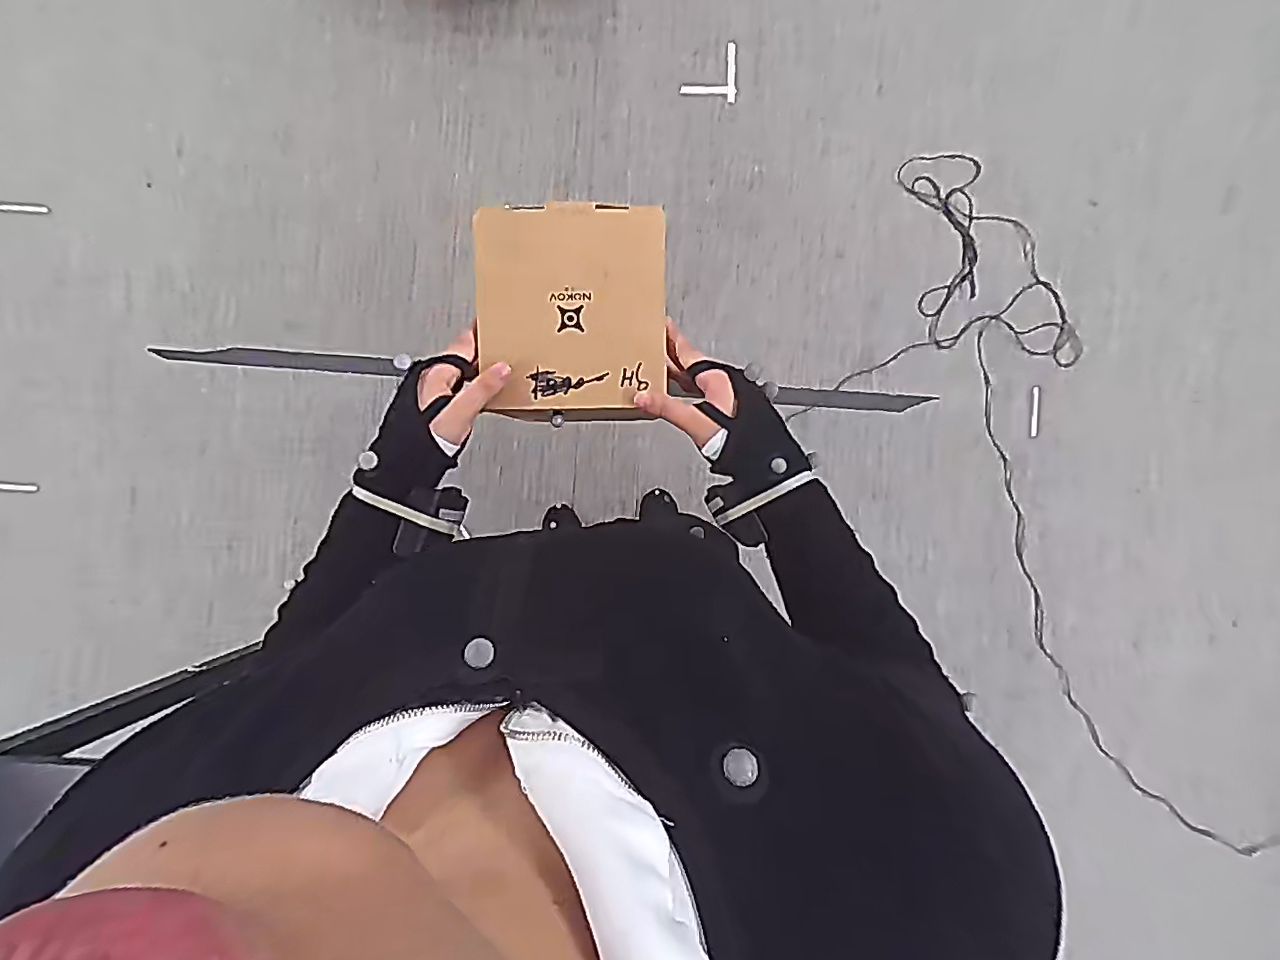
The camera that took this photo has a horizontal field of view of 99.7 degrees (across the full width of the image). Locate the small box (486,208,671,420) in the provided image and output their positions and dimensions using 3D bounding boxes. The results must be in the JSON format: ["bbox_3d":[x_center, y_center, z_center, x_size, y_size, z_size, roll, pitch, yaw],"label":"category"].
[{"bbox_3d":[-0.056,-0.156,0.560,0.168,0.176,0.179,0,94,0],"label":"small box"}]

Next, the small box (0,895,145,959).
[{"bbox_3d":[-0.792,0.676,0.690,0.179,0.176,0.168,5,88,1],"label":"small box"}]
